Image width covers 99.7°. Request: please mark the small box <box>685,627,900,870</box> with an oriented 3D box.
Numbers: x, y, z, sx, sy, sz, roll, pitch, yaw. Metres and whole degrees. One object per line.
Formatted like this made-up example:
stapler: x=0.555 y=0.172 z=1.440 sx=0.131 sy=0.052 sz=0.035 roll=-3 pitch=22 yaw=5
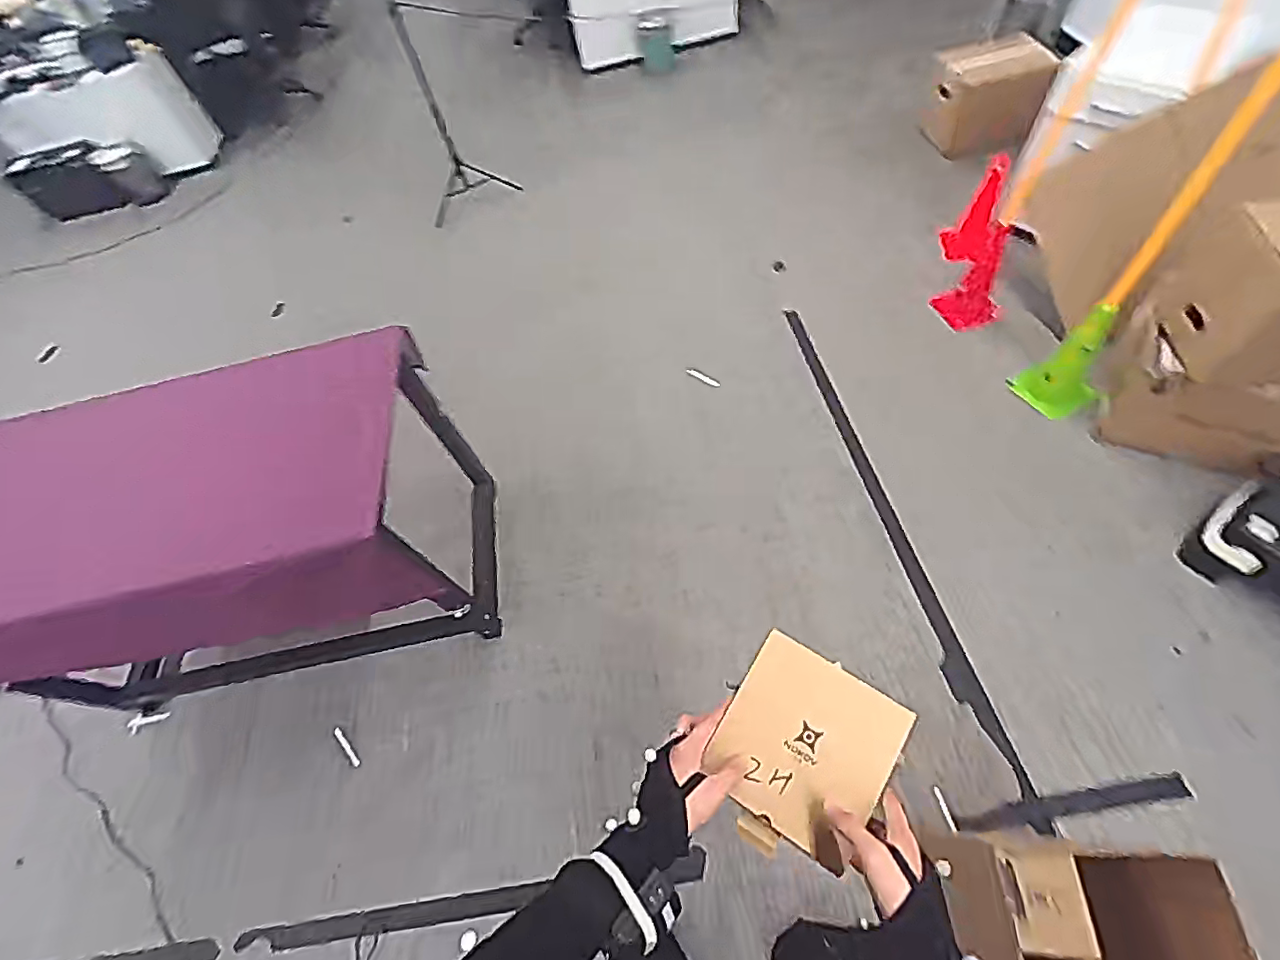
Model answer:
small box: x=0.170 y=0.299 z=0.639 sx=0.168 sy=0.176 sz=0.179 roll=29 pitch=77 yaw=19
